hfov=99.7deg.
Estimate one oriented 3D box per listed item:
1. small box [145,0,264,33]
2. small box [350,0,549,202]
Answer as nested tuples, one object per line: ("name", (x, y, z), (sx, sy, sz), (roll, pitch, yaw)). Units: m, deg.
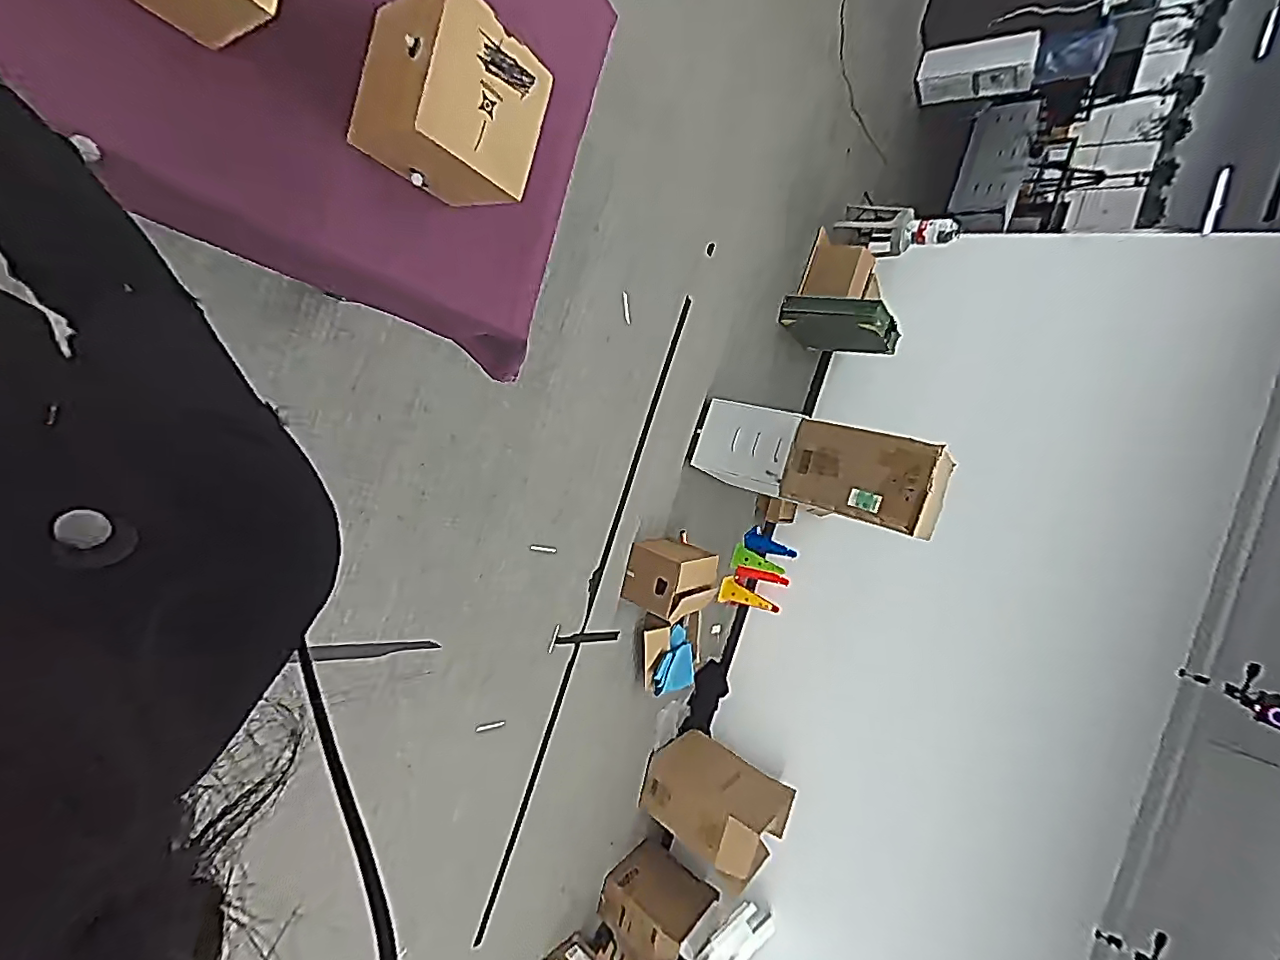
("small box", (-0.424, -0.537, 0.463), (0.179, 0.176, 0.168), (12, 95, -55))
("small box", (-0.255, -0.498, 0.720), (0.168, 0.176, 0.179), (12, 96, -55))
